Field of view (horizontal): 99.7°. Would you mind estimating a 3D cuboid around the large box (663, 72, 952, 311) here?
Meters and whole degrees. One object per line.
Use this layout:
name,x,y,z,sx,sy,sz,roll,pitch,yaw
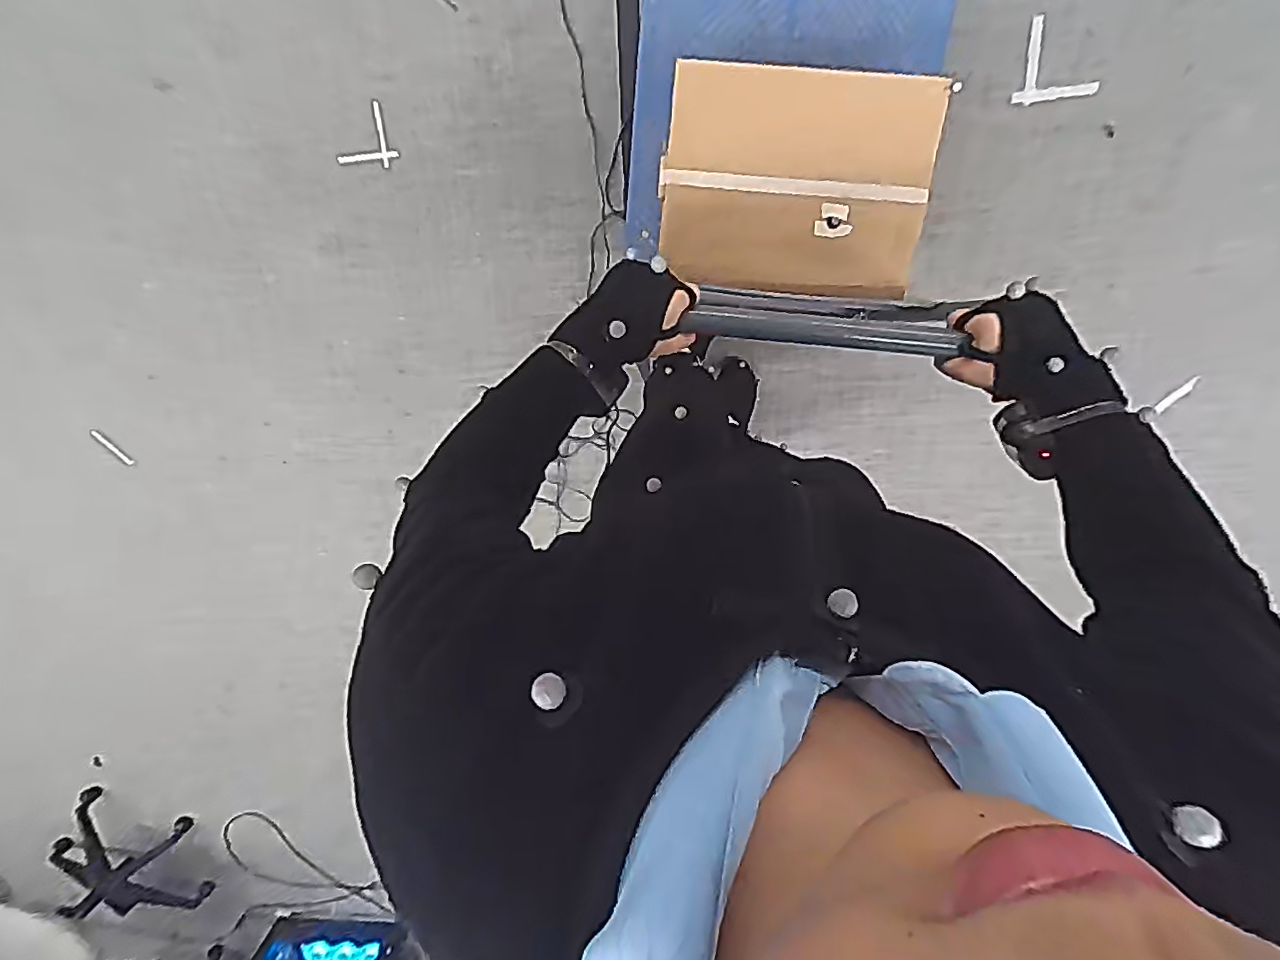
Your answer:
large box,0.251,-0.478,0.971,0.408,0.320,0.320,6,108,2
